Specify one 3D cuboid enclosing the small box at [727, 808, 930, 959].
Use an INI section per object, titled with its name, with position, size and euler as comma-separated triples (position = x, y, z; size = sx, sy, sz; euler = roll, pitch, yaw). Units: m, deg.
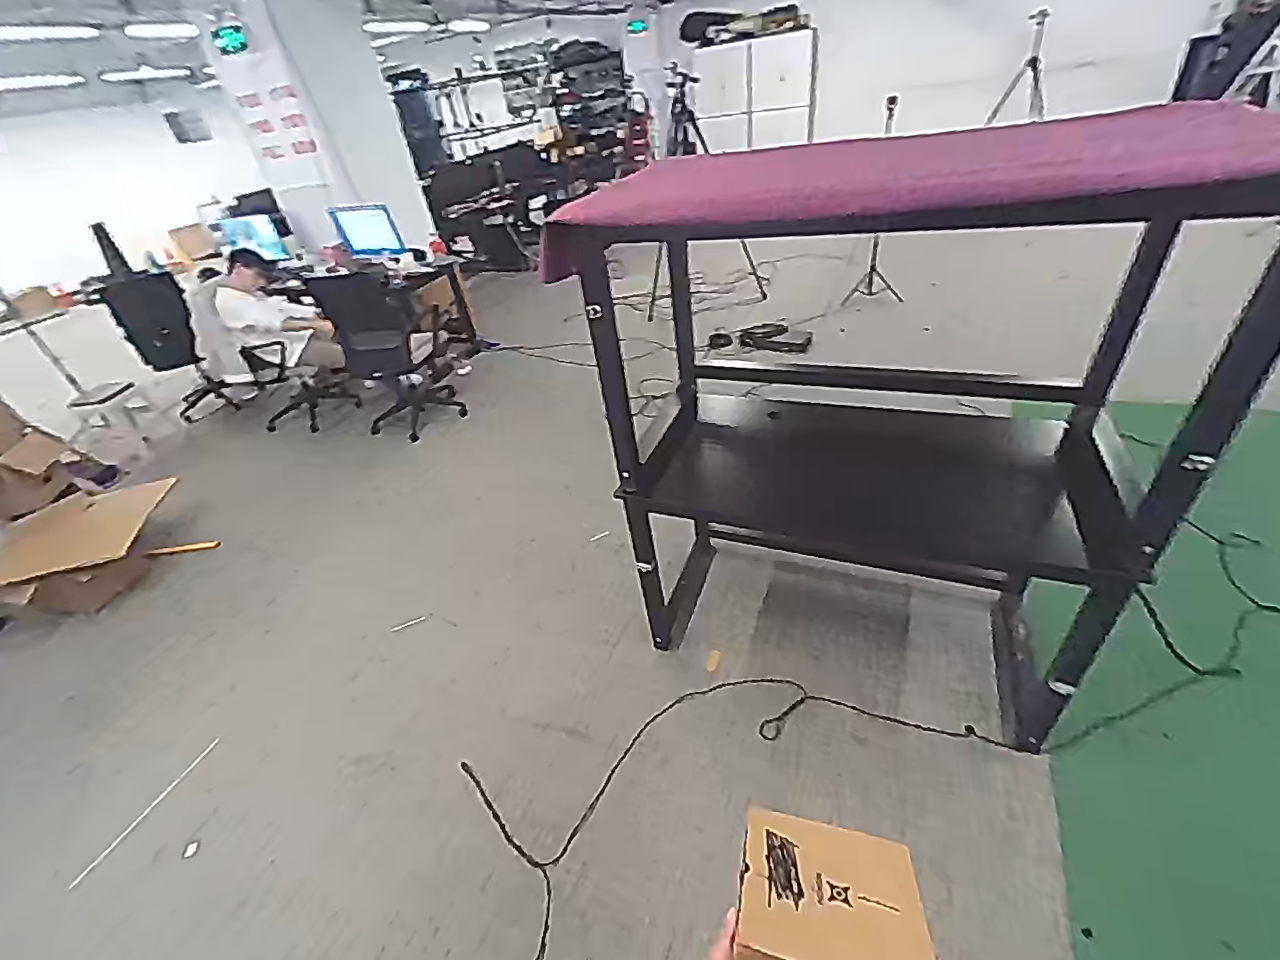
[small box]
position = 0.180, 0.485, 0.553
size = 0.179, 0.176, 0.168
euler = 6, 12, 14
